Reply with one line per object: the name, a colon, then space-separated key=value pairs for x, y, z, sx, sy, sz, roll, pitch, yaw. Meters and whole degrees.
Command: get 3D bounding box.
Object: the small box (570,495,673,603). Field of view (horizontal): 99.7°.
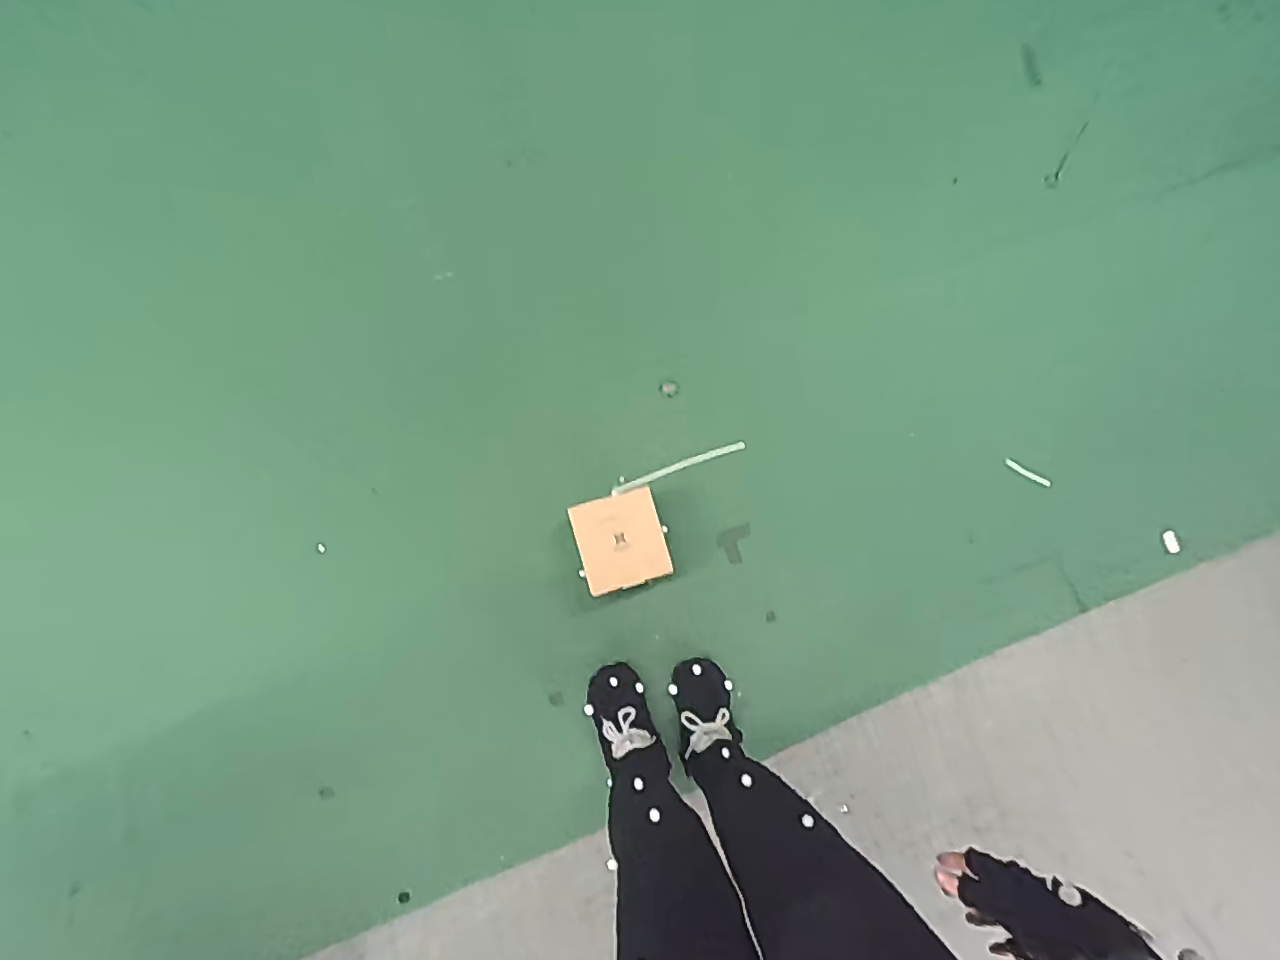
small box: x=-0.038 y=0.139 z=1.121 sx=0.168 sy=0.176 sz=0.179 roll=-16 pitch=85 yaw=-5
